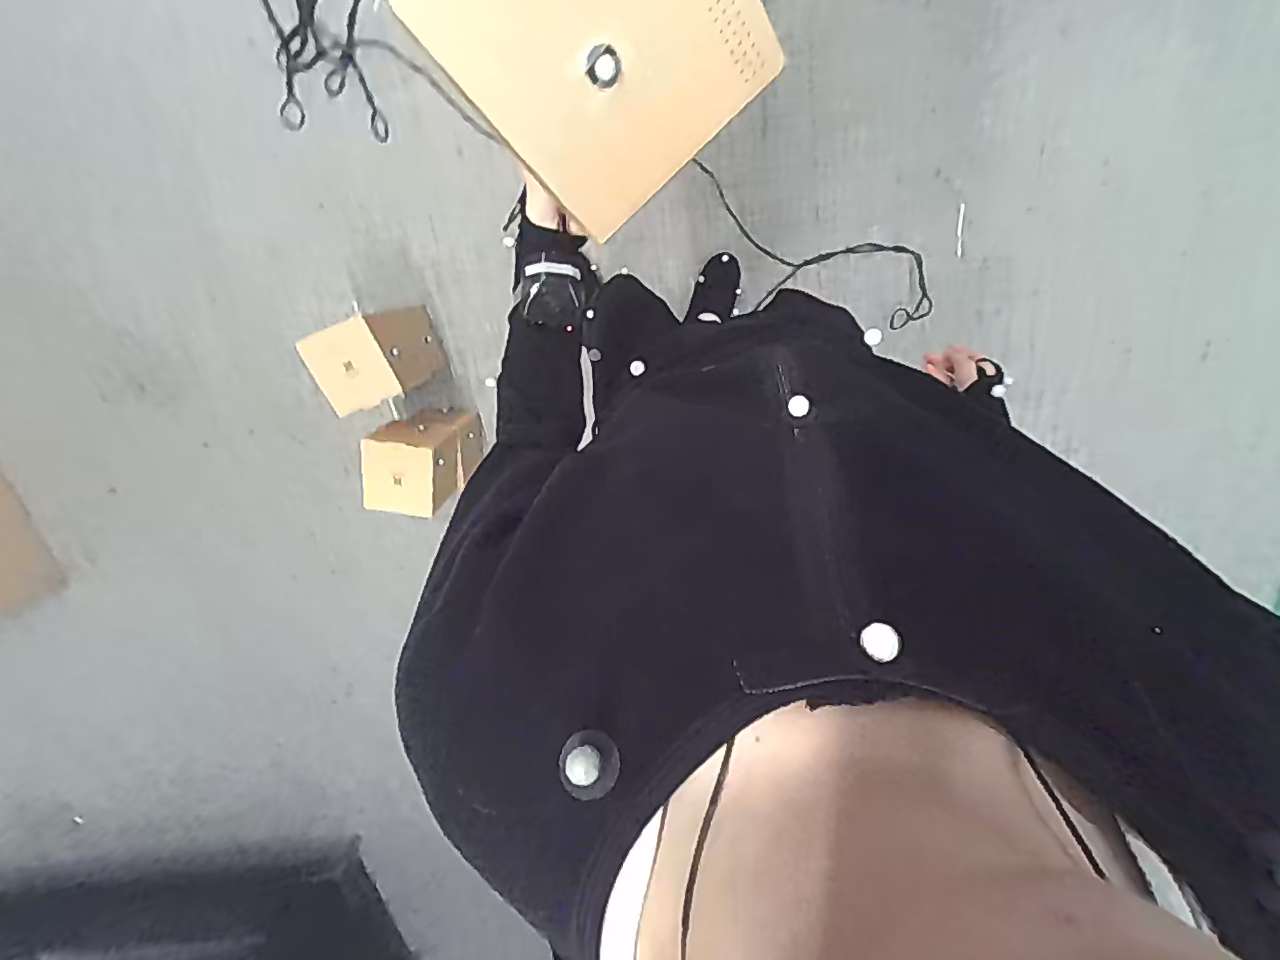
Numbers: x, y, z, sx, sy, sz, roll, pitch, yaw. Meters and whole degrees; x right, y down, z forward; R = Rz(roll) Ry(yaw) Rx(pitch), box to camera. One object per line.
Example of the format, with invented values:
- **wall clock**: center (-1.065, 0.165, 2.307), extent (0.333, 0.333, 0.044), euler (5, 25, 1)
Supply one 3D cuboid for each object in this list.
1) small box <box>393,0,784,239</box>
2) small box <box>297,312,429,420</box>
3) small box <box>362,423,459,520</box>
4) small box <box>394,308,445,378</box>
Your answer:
- **small box**: center (-0.036, -0.311, 0.361), extent (0.176, 0.168, 0.179), euler (-37, 133, 18)
- **small box**: center (-0.608, -0.262, 1.217), extent (0.168, 0.176, 0.179), euler (-19, 111, 9)
- **small box**: center (-0.550, -0.026, 1.314), extent (0.168, 0.176, 0.179), euler (8, 111, 0)
- **small box**: center (-0.616, -0.327, 1.366), extent (0.179, 0.176, 0.168), euler (-15, 111, 8)
